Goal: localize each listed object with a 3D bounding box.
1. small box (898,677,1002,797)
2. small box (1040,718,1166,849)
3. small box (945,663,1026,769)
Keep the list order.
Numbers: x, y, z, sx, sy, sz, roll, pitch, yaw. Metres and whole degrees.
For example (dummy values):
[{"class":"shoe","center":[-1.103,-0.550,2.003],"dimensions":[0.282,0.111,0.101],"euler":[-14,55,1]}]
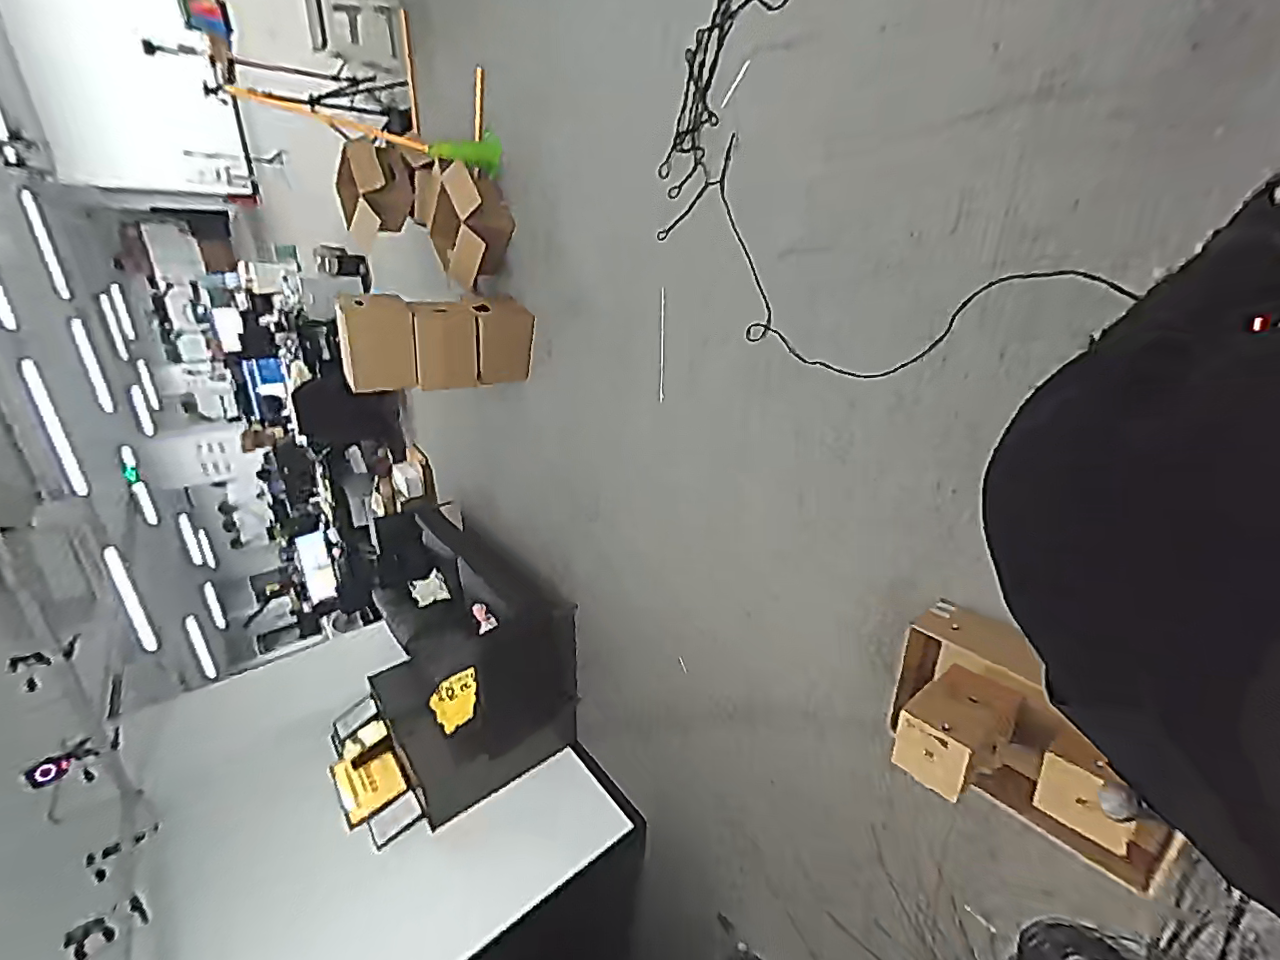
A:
[{"class":"small box","center":[0.783,0.641,1.367],"dimensions":[0.168,0.176,0.179],"euler":[22,121,47]},{"class":"small box","center":[1.083,0.695,1.265],"dimensions":[0.179,0.176,0.168],"euler":[21,119,50]},{"class":"small box","center":[0.914,0.627,1.466],"dimensions":[0.179,0.176,0.168],"euler":[17,116,49]}]
